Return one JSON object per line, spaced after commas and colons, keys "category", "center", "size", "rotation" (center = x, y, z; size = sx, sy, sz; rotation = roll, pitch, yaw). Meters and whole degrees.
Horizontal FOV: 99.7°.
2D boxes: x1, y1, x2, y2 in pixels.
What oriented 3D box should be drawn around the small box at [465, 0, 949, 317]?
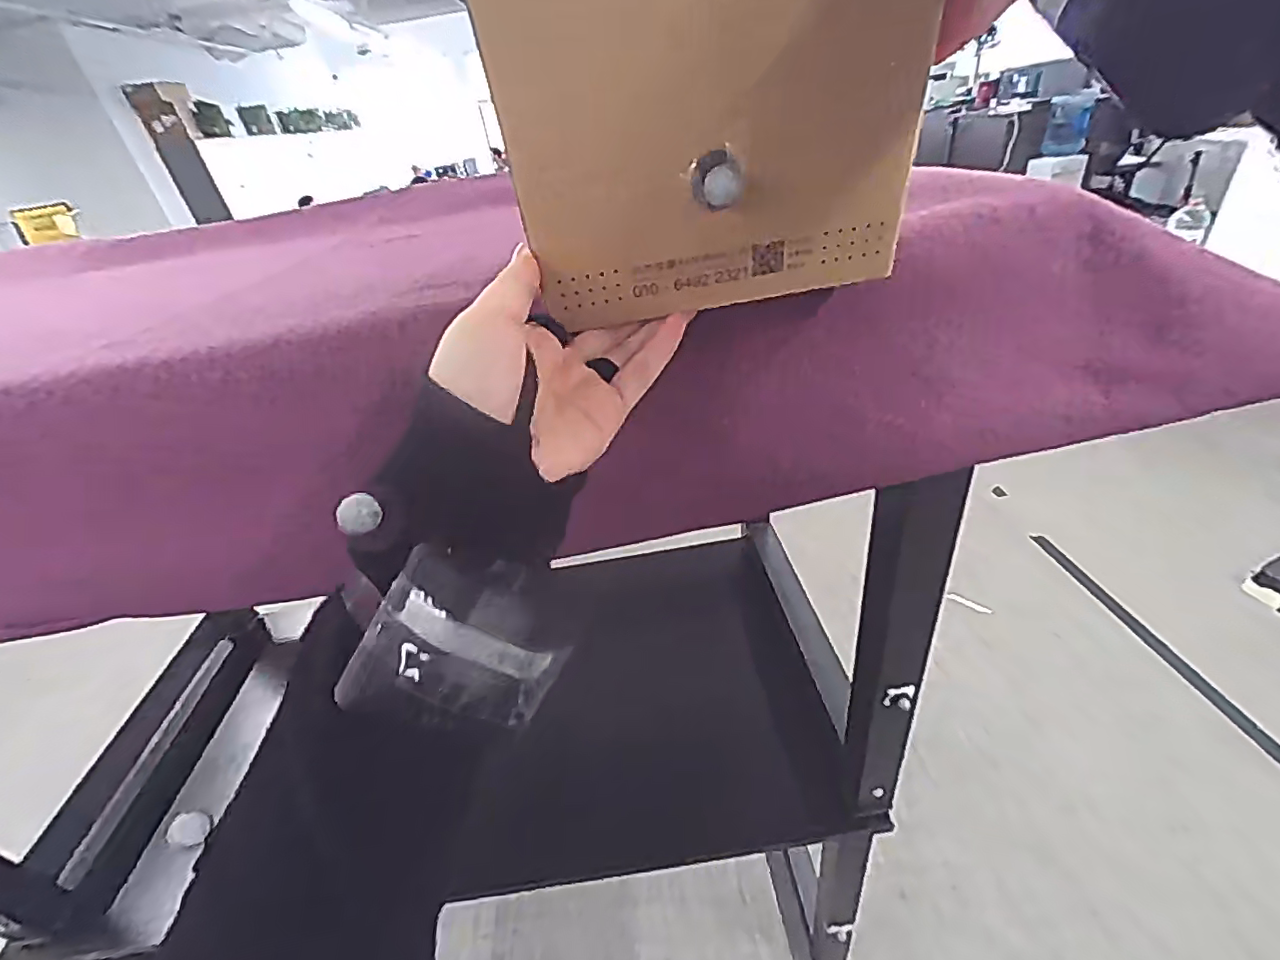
{"category": "small box", "center": [0.016, -0.198, 0.249], "size": [0.168, 0.176, 0.179], "rotation": [-11, 45, -1]}
